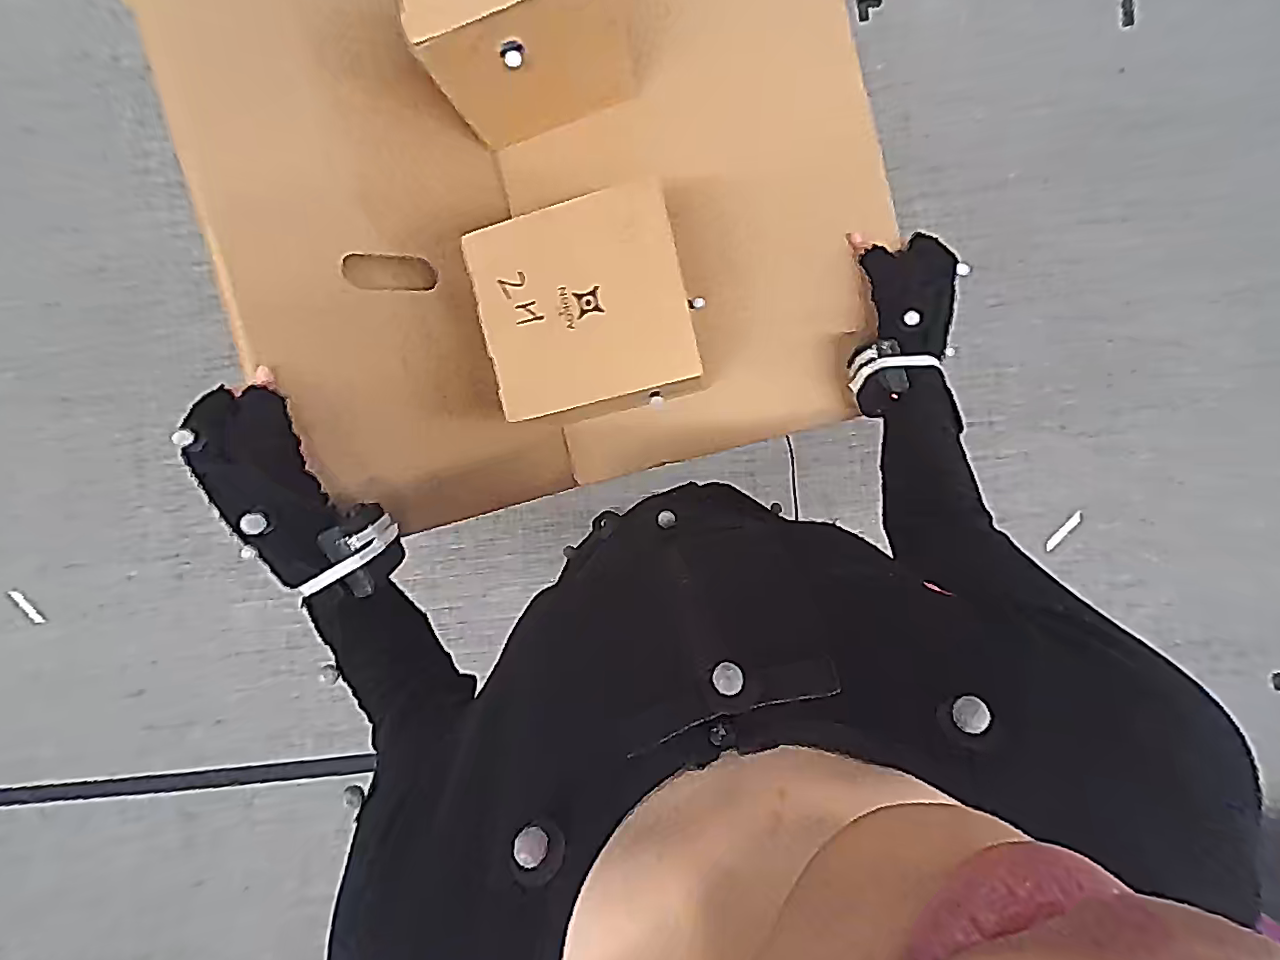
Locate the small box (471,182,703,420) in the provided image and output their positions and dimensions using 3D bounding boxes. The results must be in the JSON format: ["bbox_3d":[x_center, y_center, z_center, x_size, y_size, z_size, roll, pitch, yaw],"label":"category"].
[{"bbox_3d":[-0.037,-0.158,0.539,0.179,0.176,0.168,-12,92,10],"label":"small box"}]

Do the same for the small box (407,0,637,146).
[{"bbox_3d":[-0.114,-0.468,0.526,0.179,0.176,0.168,-15,92,8],"label":"small box"}]
